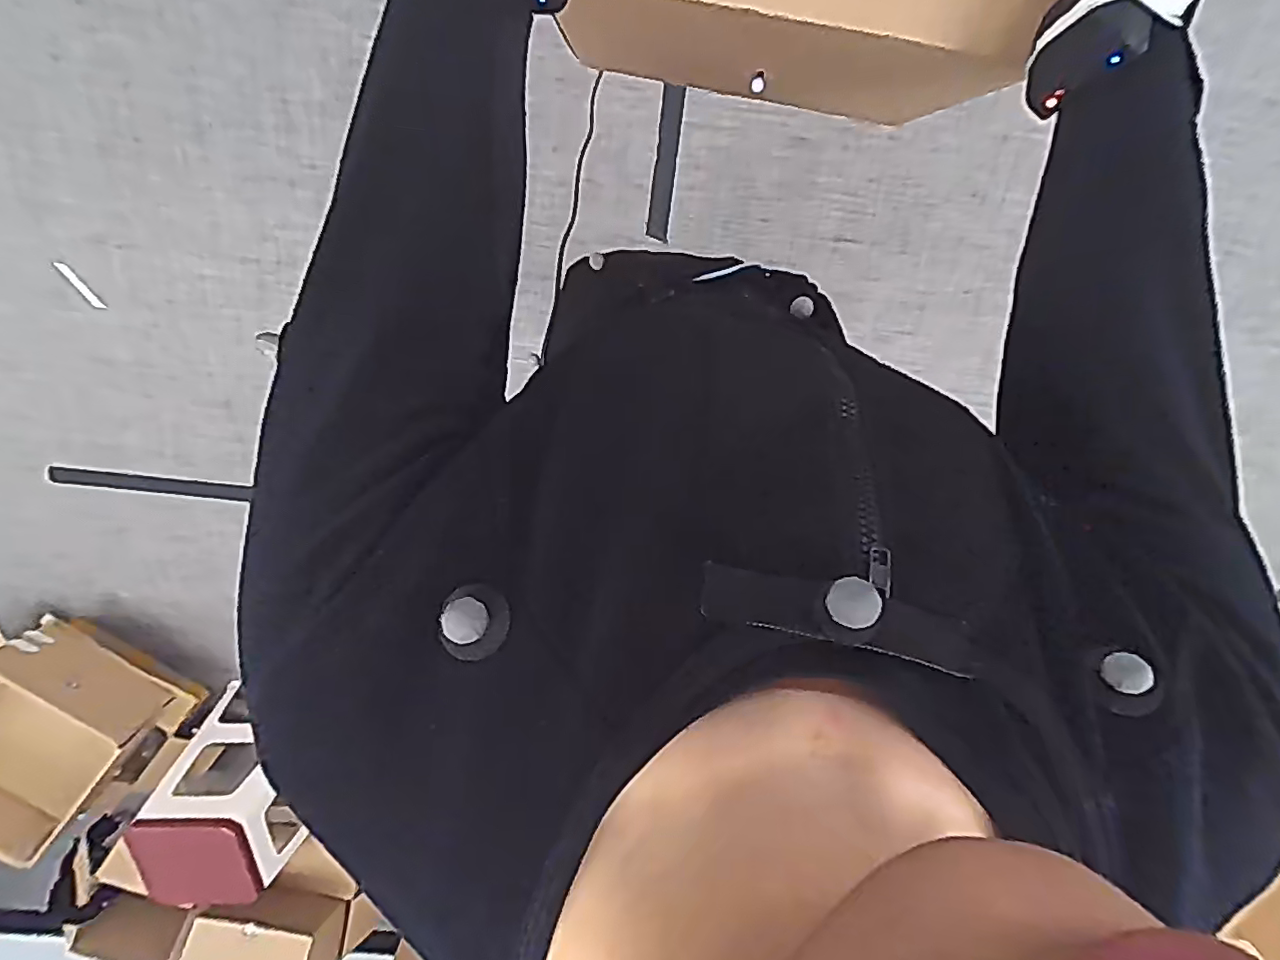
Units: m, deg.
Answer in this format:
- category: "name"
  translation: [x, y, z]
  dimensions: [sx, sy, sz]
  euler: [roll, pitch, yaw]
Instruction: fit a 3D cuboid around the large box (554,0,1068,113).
- category: "large box"
  translation: [0.145, -0.551, 0.471]
  dimensions: [0.408, 0.320, 0.320]
  euler: [10, 116, -2]
